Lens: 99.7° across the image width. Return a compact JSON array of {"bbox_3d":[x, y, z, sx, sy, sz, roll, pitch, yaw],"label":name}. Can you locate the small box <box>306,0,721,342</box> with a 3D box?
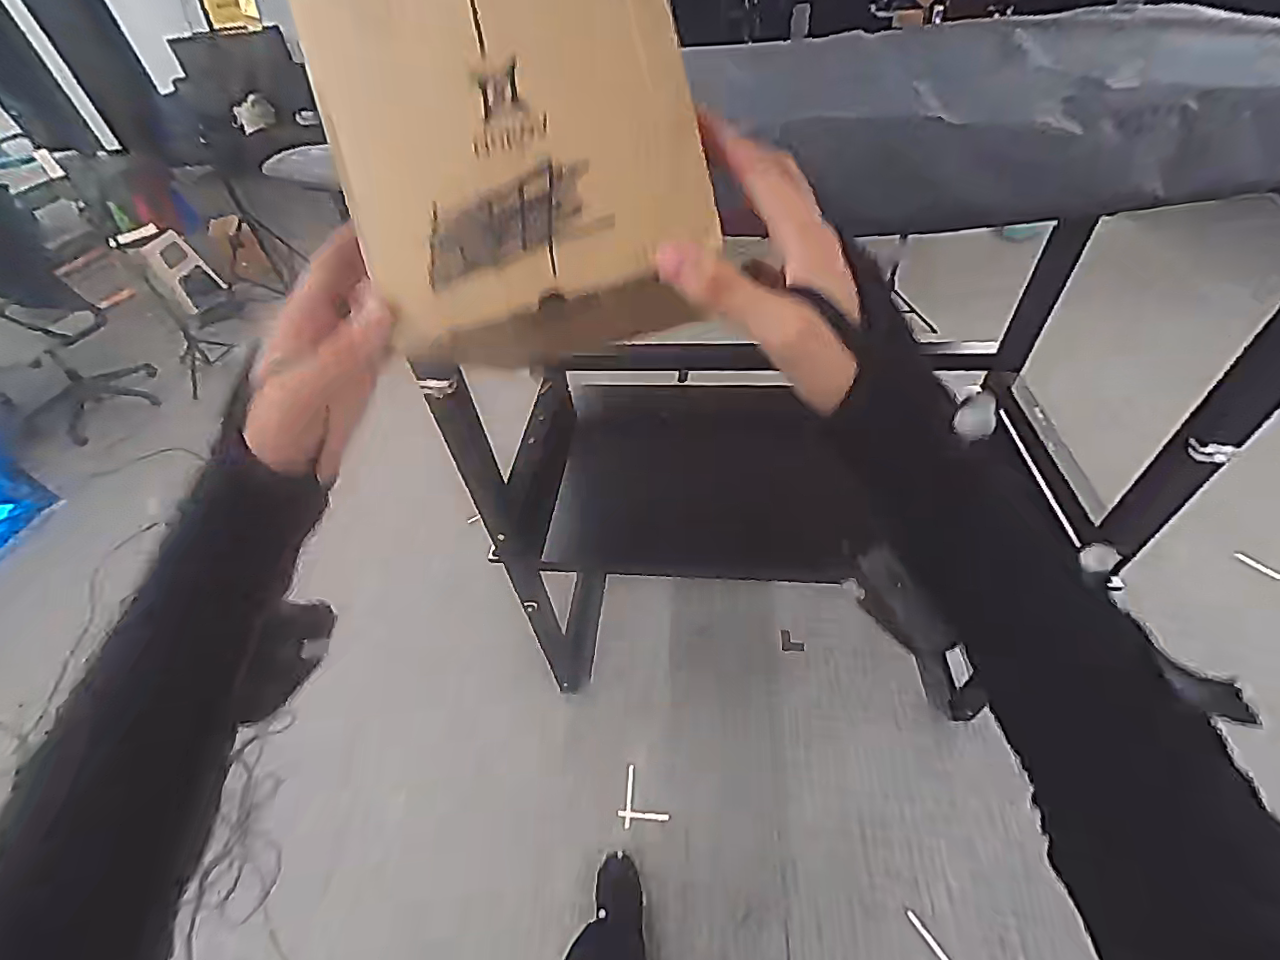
[{"bbox_3d":[-0.051,-0.188,0.320,0.168,0.179,0.176,-13,5,6],"label":"small box"}]
